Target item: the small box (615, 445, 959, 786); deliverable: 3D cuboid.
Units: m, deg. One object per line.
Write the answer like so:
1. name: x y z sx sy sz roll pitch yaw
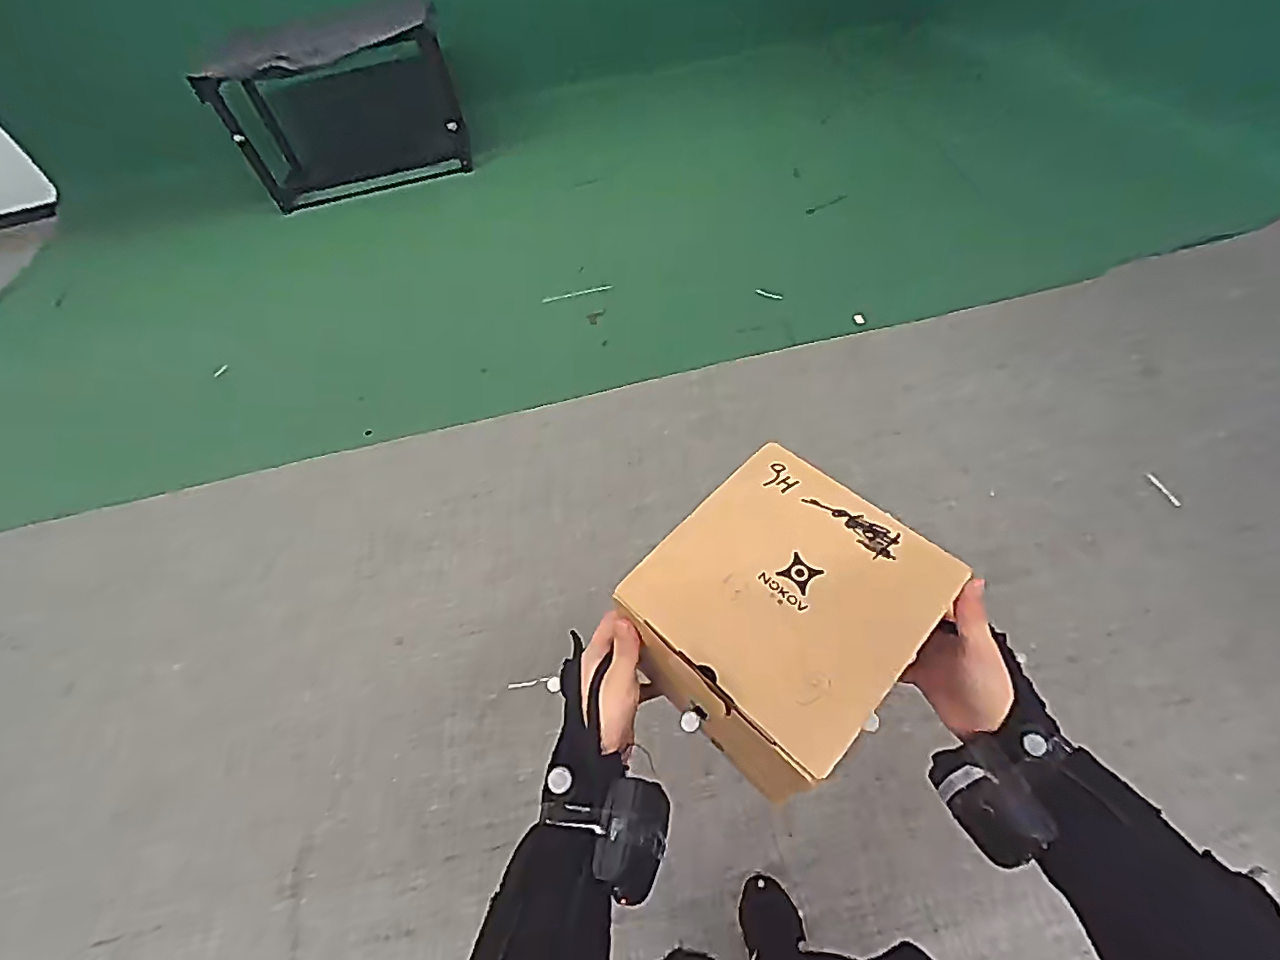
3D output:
1. small box: 0.105 0.113 0.433 0.179 0.176 0.168 -41 62 -21
